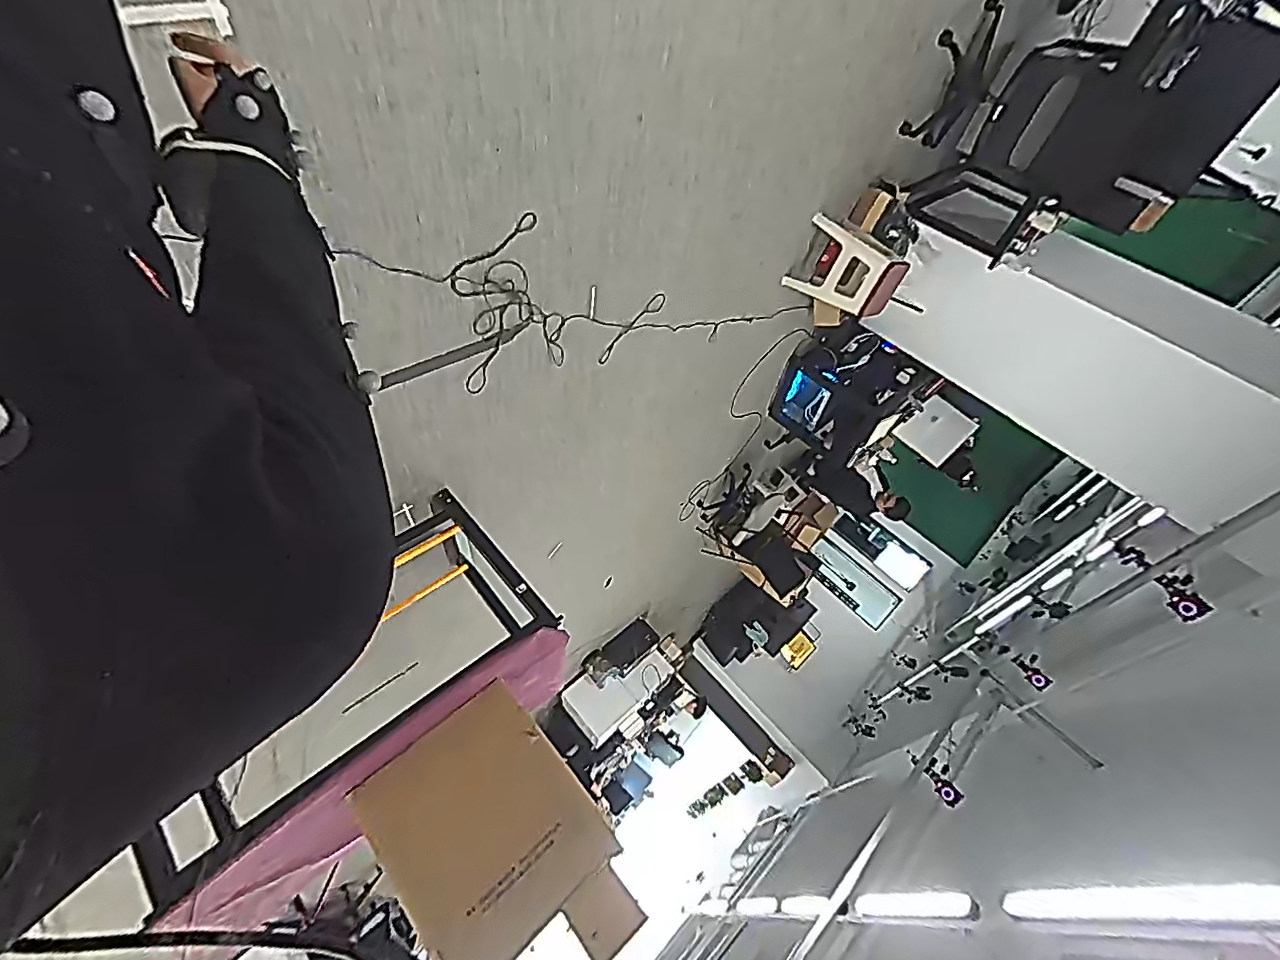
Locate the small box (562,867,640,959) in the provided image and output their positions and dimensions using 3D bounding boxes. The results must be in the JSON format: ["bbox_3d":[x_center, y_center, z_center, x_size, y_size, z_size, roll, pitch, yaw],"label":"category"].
[{"bbox_3d":[-0.123,1.316,1.640,0.168,0.176,0.179,-33,154,-29],"label":"small box"}]
